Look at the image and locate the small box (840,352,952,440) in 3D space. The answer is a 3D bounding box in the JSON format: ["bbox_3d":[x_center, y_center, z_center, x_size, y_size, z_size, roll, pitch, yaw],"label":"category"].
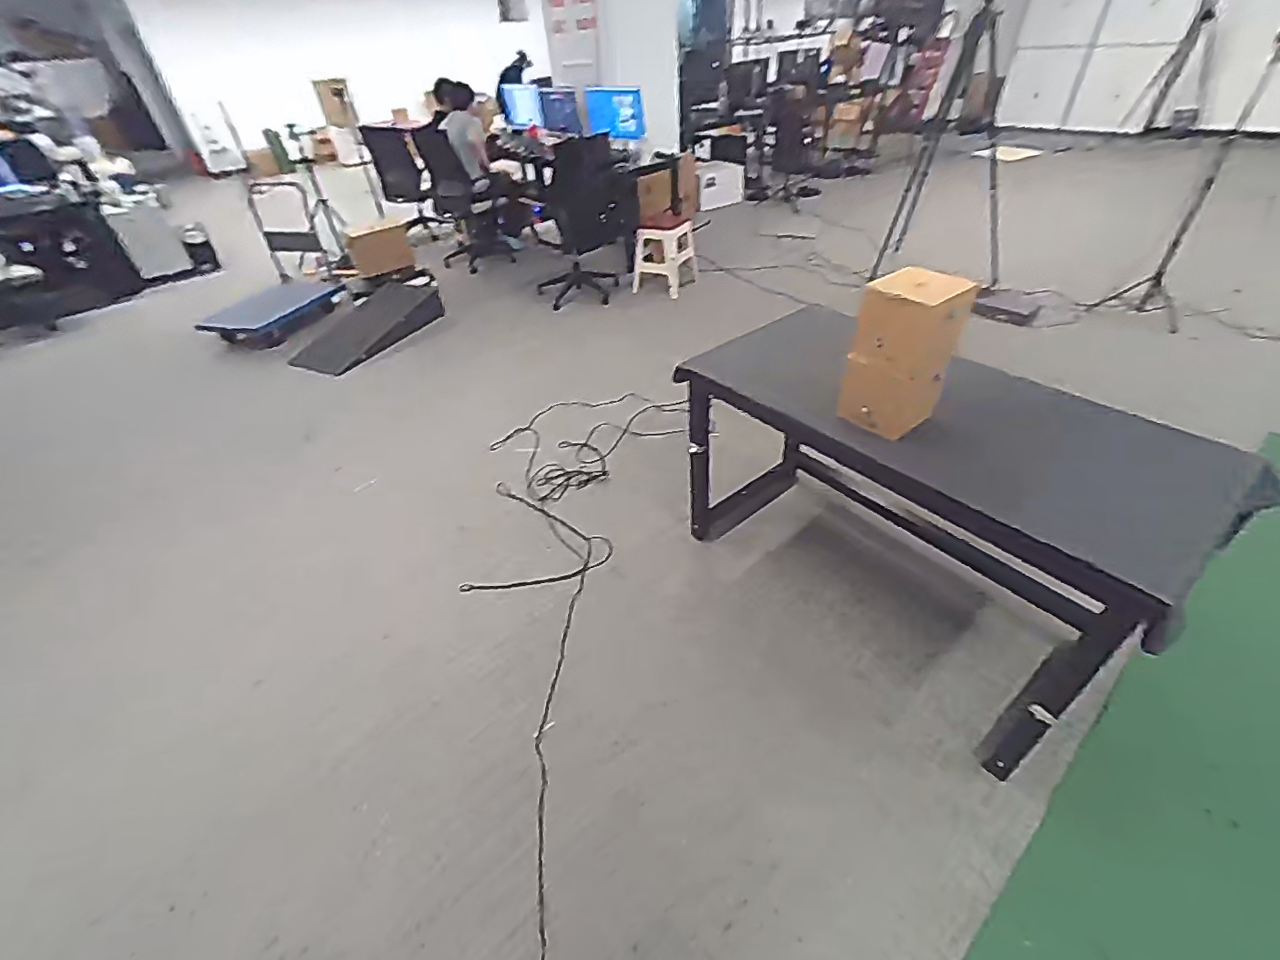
[{"bbox_3d":[0.609,-0.225,1.308,0.179,0.176,0.168,-28,44,-26],"label":"small box"}]

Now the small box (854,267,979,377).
[{"bbox_3d":[0.607,-0.354,1.208,0.179,0.176,0.168,-28,45,-26],"label":"small box"}]
